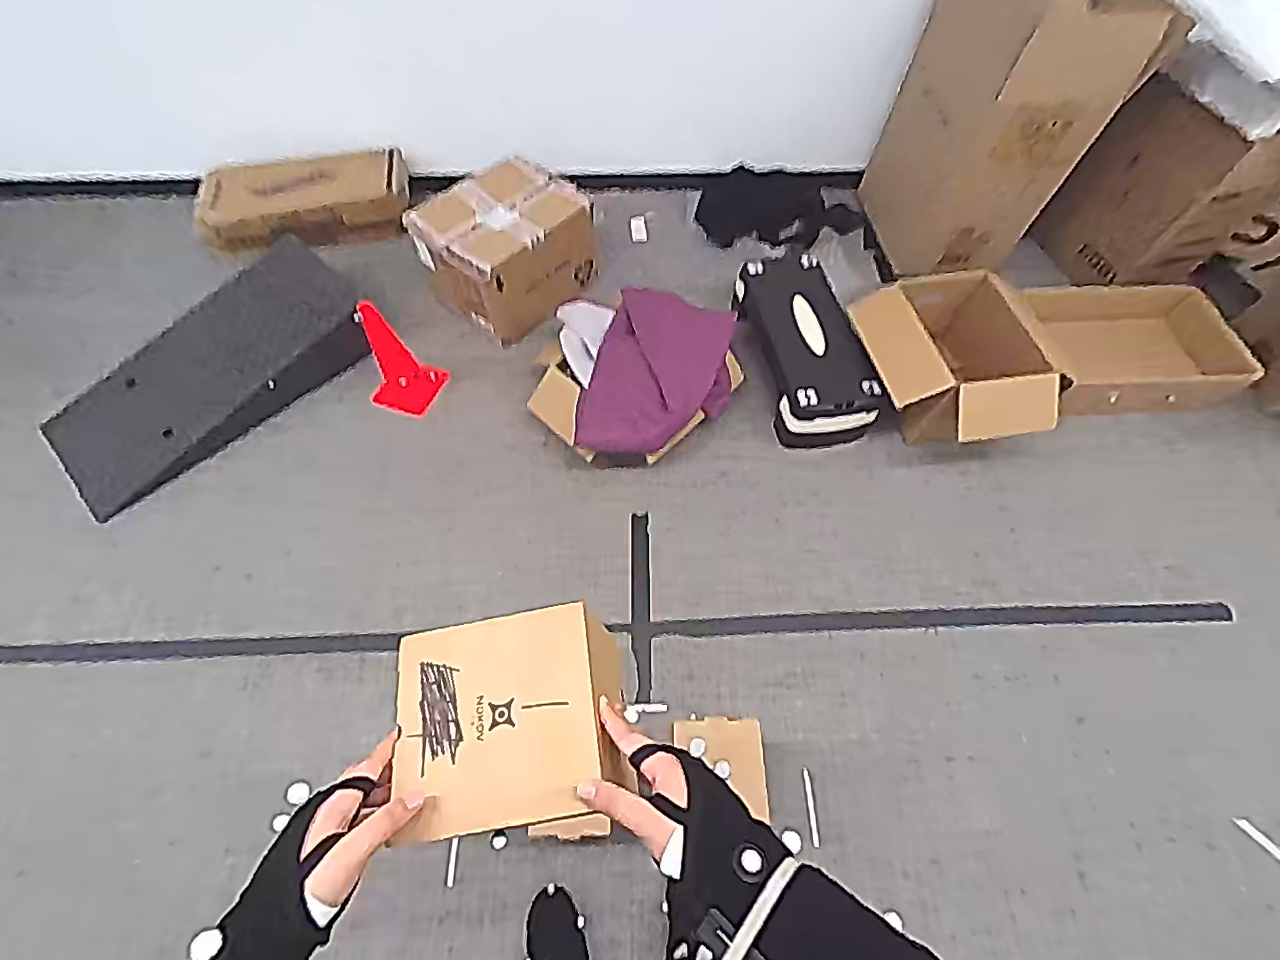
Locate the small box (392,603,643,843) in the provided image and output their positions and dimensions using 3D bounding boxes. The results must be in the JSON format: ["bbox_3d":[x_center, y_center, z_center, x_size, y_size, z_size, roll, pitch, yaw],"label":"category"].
[{"bbox_3d":[-0.105,0.234,0.519,0.179,0.176,0.168,-12,60,4],"label":"small box"}]

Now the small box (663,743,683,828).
[{"bbox_3d":[0.146,0.661,1.193,0.179,0.176,0.168,-2,60,-2],"label":"small box"}]

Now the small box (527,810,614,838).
[{"bbox_3d":[-0.142,0.670,1.183,0.168,0.176,0.179,0,61,1],"label":"small box"}]

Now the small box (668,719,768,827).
[{"bbox_3d":[0.143,0.571,1.057,0.168,0.176,0.179,-1,62,0],"label":"small box"}]
